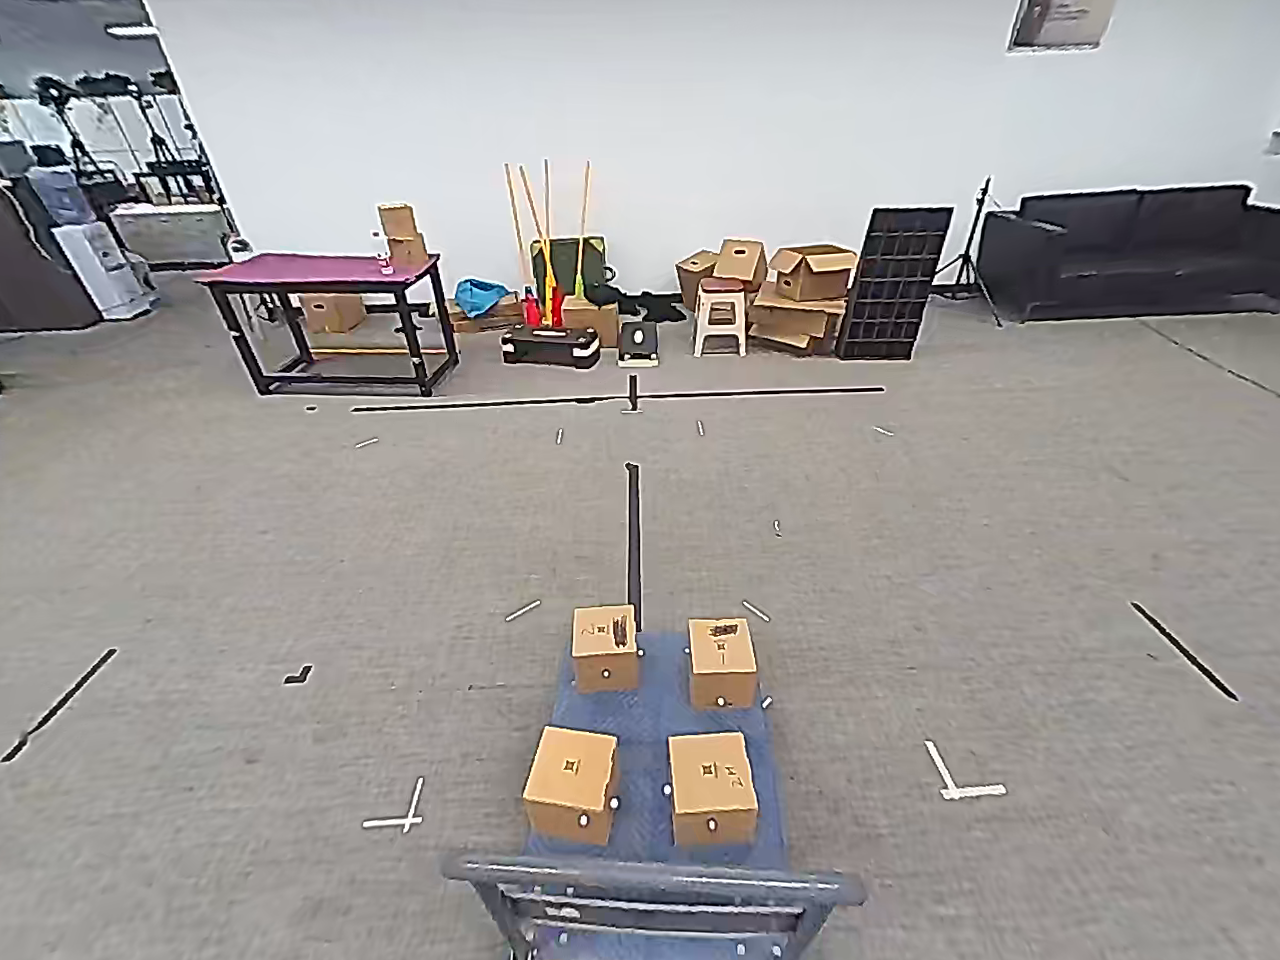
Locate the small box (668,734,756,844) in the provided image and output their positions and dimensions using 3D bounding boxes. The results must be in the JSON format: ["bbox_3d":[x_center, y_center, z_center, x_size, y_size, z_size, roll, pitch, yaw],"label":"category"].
[{"bbox_3d":[0.157,0.707,1.233,0.179,0.176,0.168,-2,35,-1],"label":"small box"}]

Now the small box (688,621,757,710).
[{"bbox_3d":[0.222,0.513,1.503,0.168,0.176,0.179,-1,36,1],"label":"small box"}]

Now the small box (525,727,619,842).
[{"bbox_3d":[-0.149,0.704,1.250,0.179,0.176,0.168,5,35,7],"label":"small box"}]
